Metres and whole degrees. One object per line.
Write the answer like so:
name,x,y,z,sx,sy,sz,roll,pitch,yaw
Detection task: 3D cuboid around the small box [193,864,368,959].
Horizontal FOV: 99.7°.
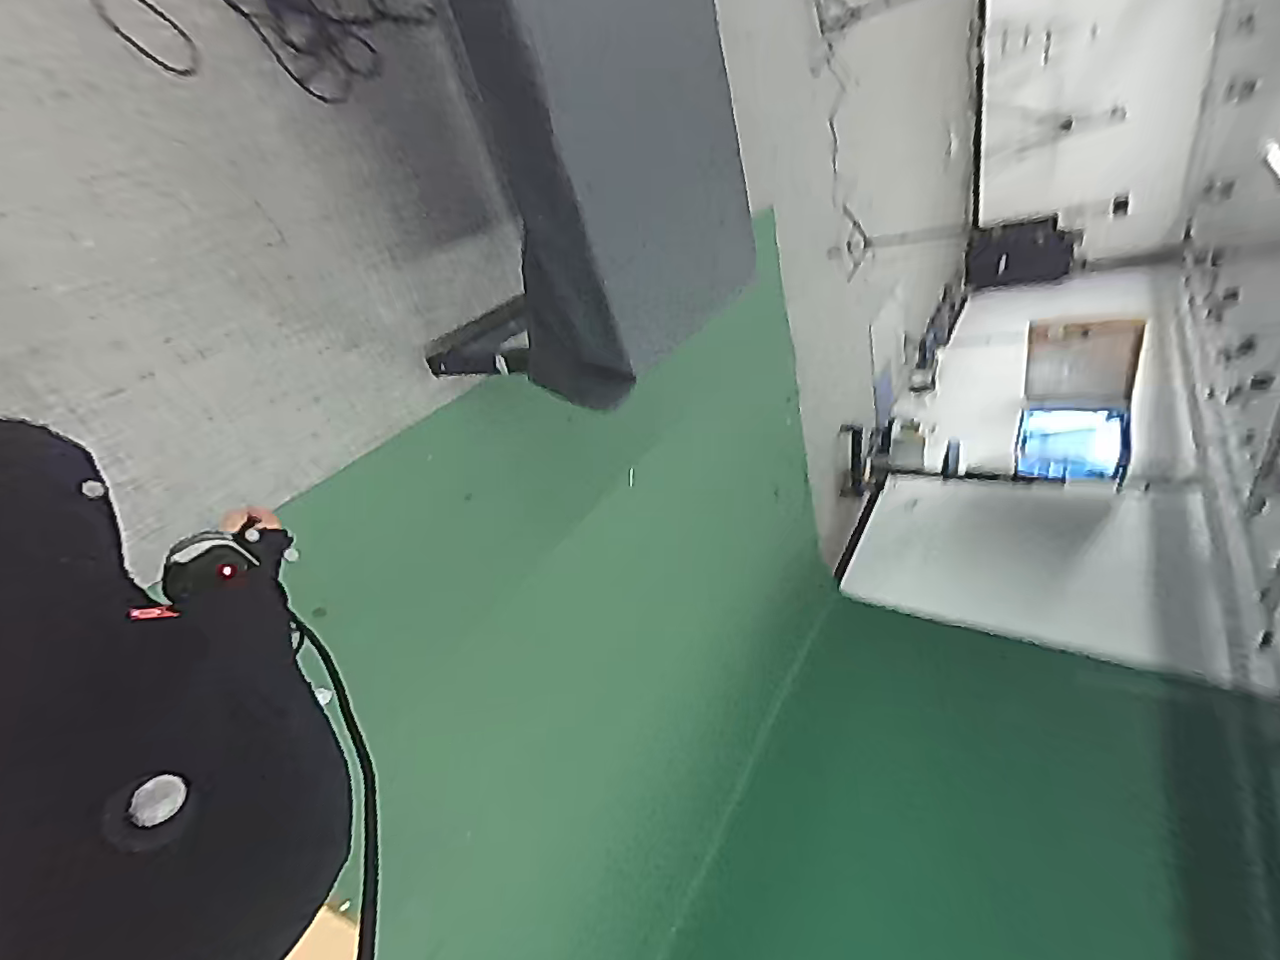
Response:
small box,-0.640,0.838,0.971,0.168,0.176,0.179,-50,132,-38
